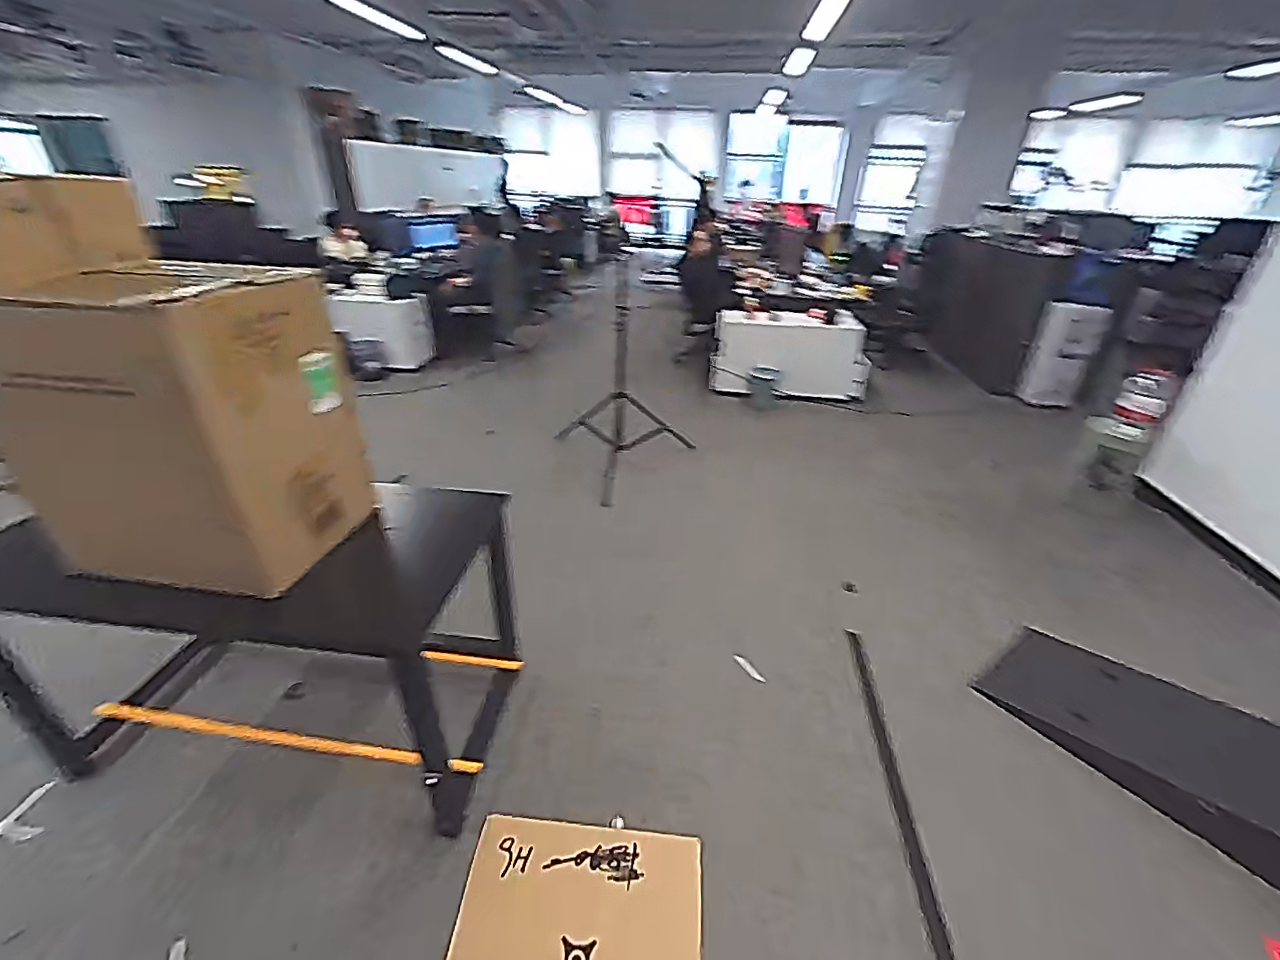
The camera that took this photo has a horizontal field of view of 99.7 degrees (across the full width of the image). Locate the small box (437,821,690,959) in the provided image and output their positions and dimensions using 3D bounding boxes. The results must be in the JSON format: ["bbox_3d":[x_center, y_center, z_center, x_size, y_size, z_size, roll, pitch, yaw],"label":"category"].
[{"bbox_3d":[-0.052,0.378,0.391,0.168,0.176,0.179,4,40,0],"label":"small box"}]

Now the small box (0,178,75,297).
[{"bbox_3d":[-1.152,-0.423,0.935,0.168,0.176,0.179,5,33,2],"label":"small box"}]

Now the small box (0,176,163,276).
[{"bbox_3d":[-1.138,-0.512,1.093,0.179,0.176,0.168,6,28,6],"label":"small box"}]
